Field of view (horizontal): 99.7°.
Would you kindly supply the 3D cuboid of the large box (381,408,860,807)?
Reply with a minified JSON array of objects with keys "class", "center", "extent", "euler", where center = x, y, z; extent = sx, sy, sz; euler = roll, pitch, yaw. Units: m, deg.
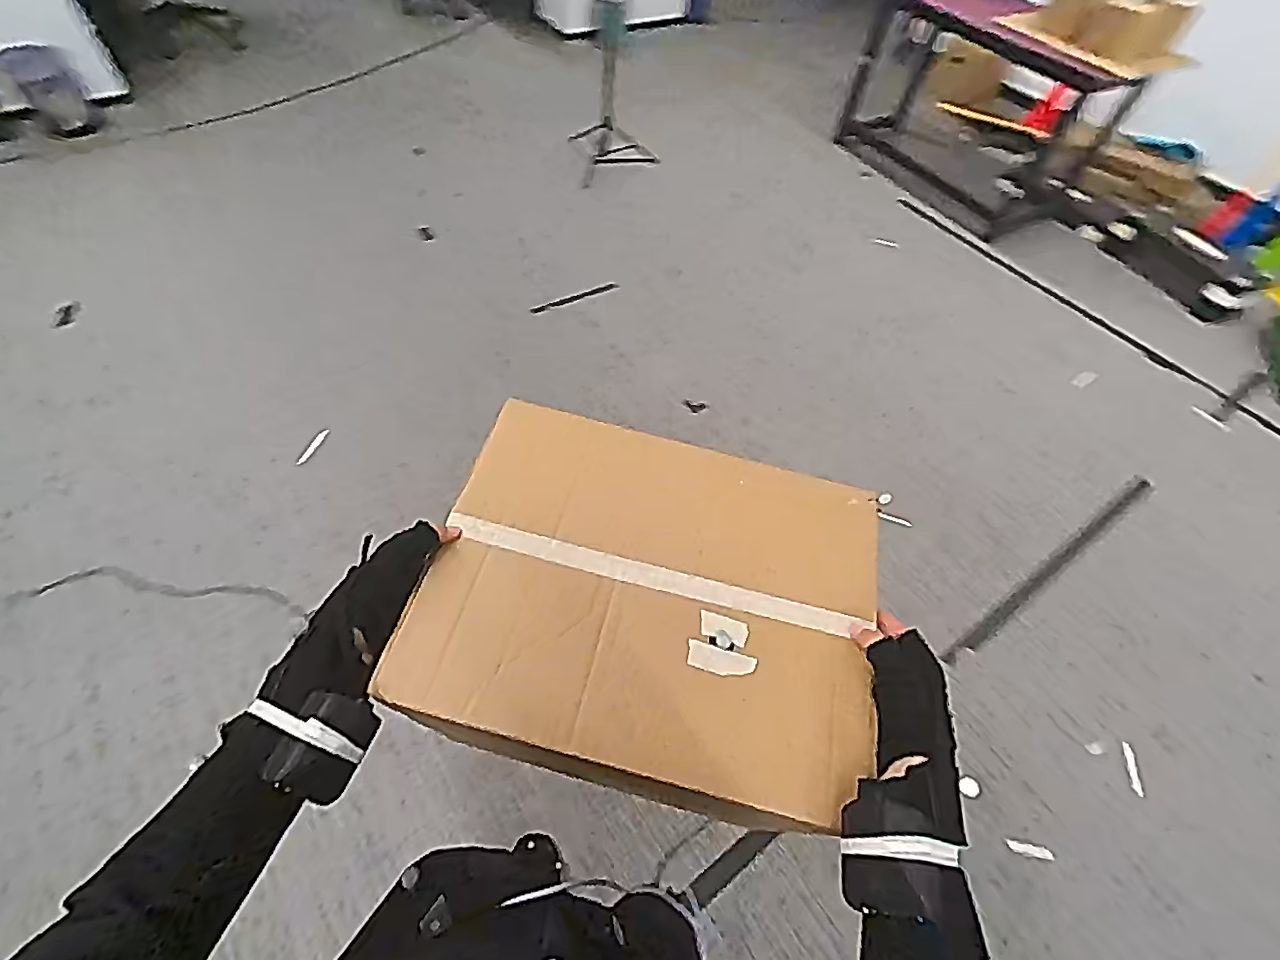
[{"class":"large box","center":[-0.006,0.166,0.635],"extent":[0.408,0.320,0.320],"euler":[14,60,1]}]
